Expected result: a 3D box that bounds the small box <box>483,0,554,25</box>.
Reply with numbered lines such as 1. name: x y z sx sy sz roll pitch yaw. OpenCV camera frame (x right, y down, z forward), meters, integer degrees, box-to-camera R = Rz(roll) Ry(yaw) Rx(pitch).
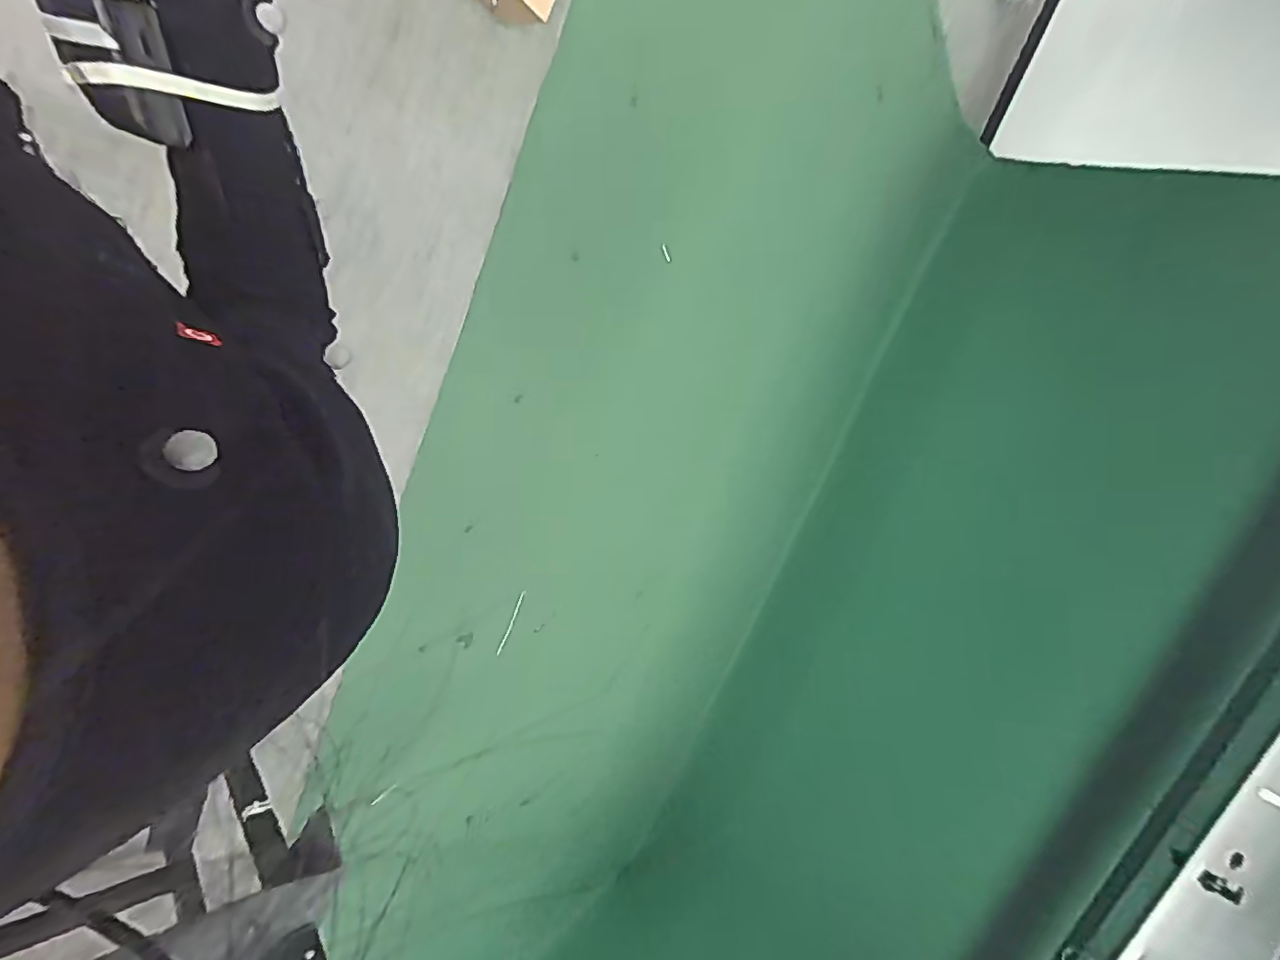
1. small box: -0.288 -1.174 1.218 0.168 0.176 0.179 10 106 -53
